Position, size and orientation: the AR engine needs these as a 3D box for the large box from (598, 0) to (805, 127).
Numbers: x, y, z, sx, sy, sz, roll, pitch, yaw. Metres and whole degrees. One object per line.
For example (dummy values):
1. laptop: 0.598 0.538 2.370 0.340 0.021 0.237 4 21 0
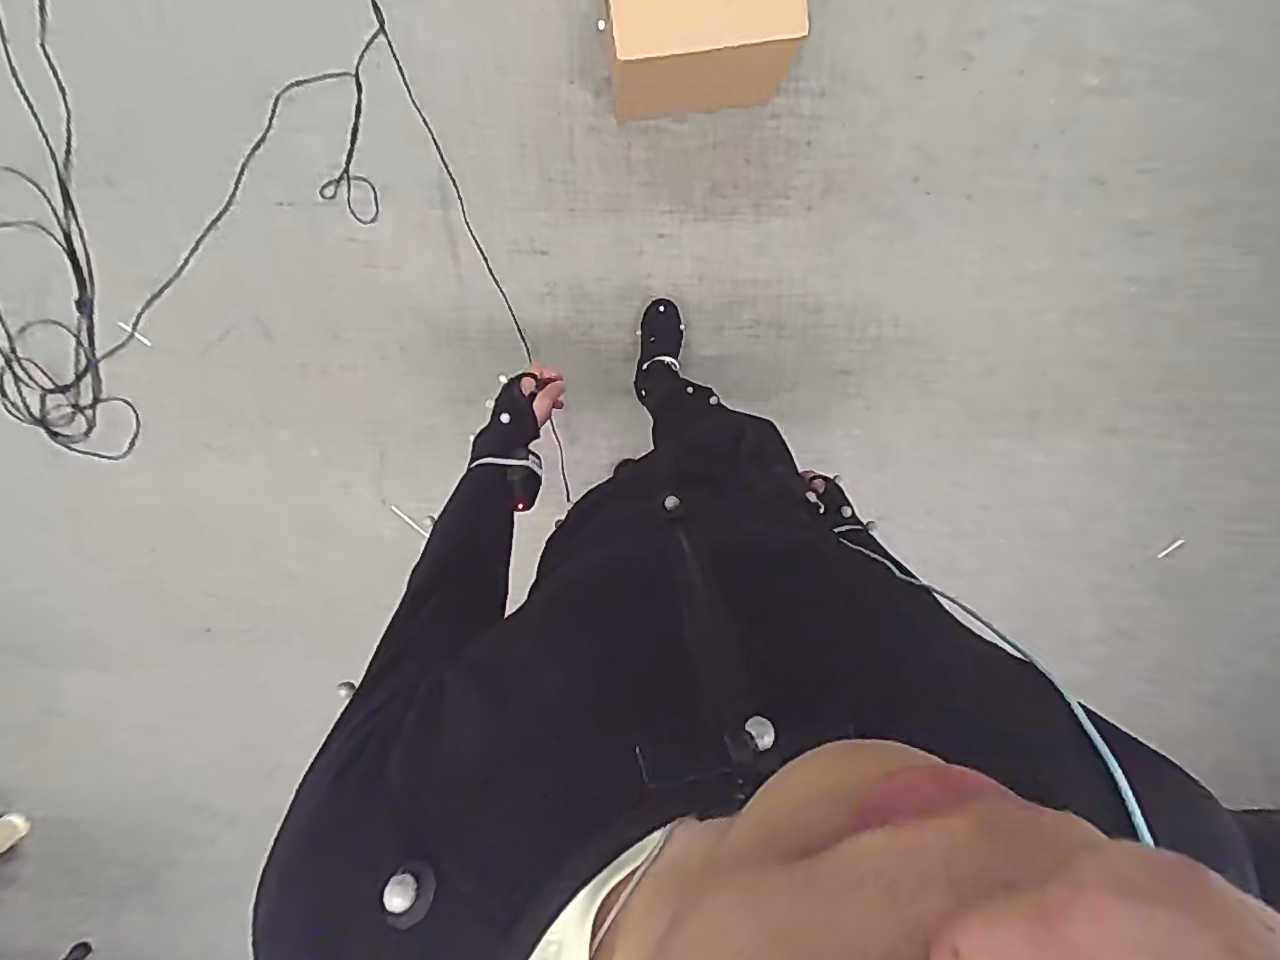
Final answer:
1. large box: 0.120 -1.069 1.242 0.408 0.320 0.320 -8 103 -1
